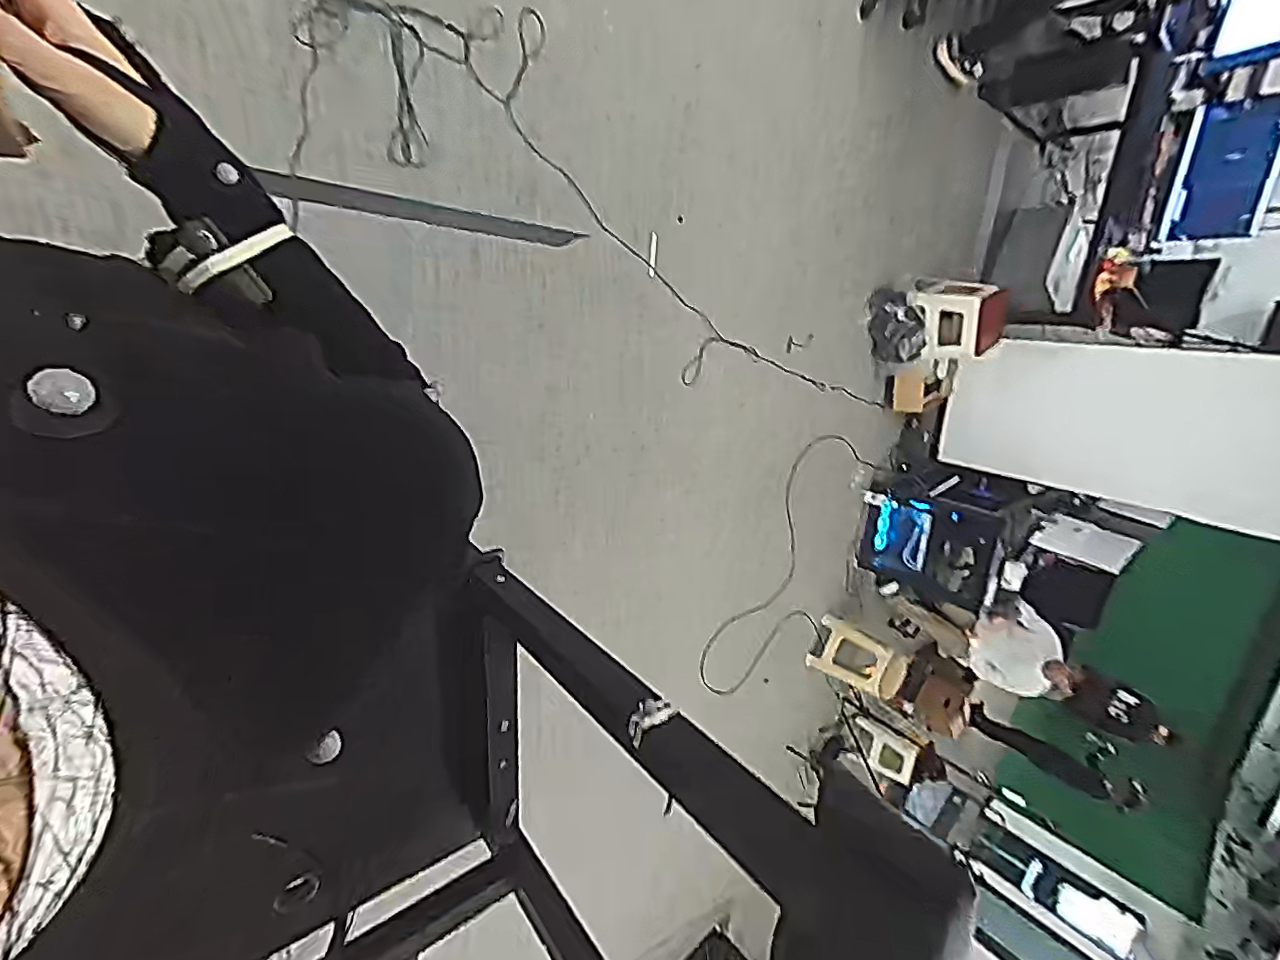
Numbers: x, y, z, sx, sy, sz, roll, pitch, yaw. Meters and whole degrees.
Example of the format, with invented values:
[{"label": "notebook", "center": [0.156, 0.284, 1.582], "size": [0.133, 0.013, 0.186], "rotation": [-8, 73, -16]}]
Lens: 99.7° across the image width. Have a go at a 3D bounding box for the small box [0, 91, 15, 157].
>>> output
[{"label": "small box", "center": [-0.391, -0.235, 0.202], "size": [0.168, 0.176, 0.179], "rotation": [-21, 118, -40]}]
